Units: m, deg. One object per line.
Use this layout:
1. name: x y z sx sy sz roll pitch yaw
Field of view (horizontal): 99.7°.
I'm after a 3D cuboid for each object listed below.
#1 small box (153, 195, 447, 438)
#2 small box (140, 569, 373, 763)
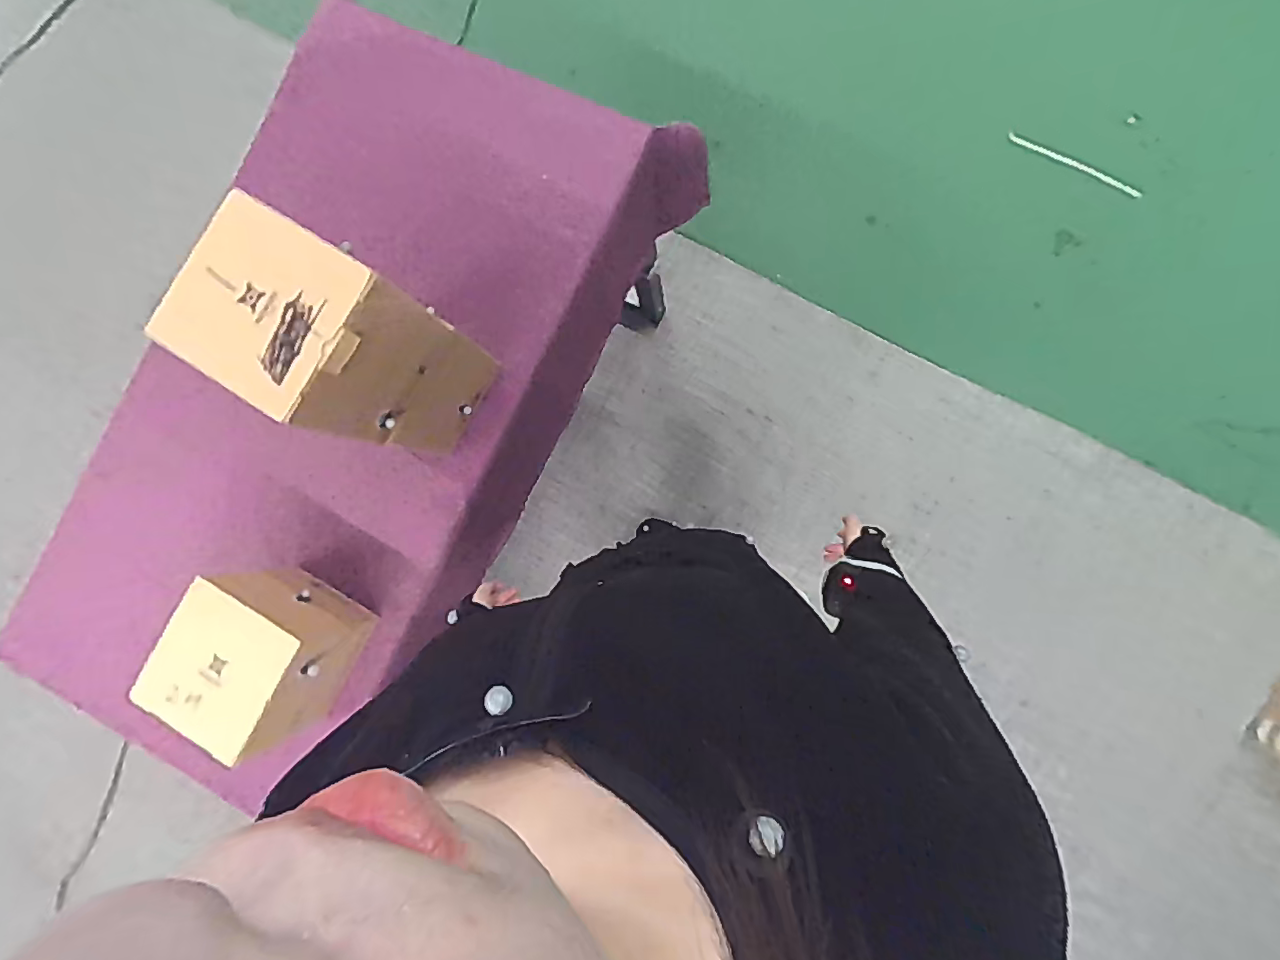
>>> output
1. small box: -0.348 -0.159 0.590 0.179 0.176 0.168 32 90 8
2. small box: -0.507 0.237 0.747 0.168 0.176 0.179 29 89 8
